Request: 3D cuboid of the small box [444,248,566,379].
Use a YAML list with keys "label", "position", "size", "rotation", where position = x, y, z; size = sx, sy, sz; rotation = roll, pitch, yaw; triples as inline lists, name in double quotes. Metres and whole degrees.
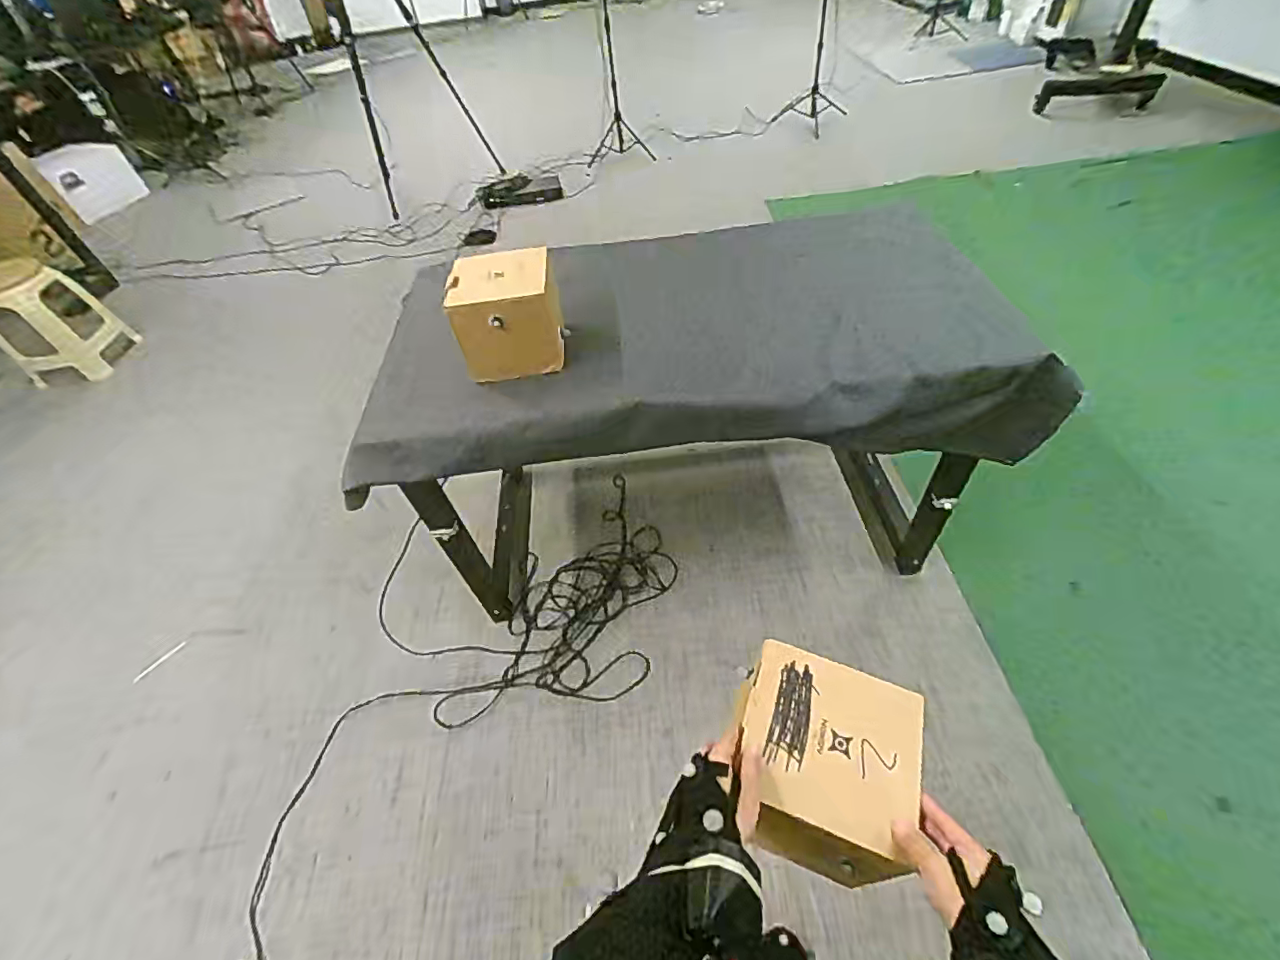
- label: "small box"
  position: [-0.241, -0.306, 1.012]
  size: [0.179, 0.176, 0.168]
  rotation: [-7, 50, 0]
